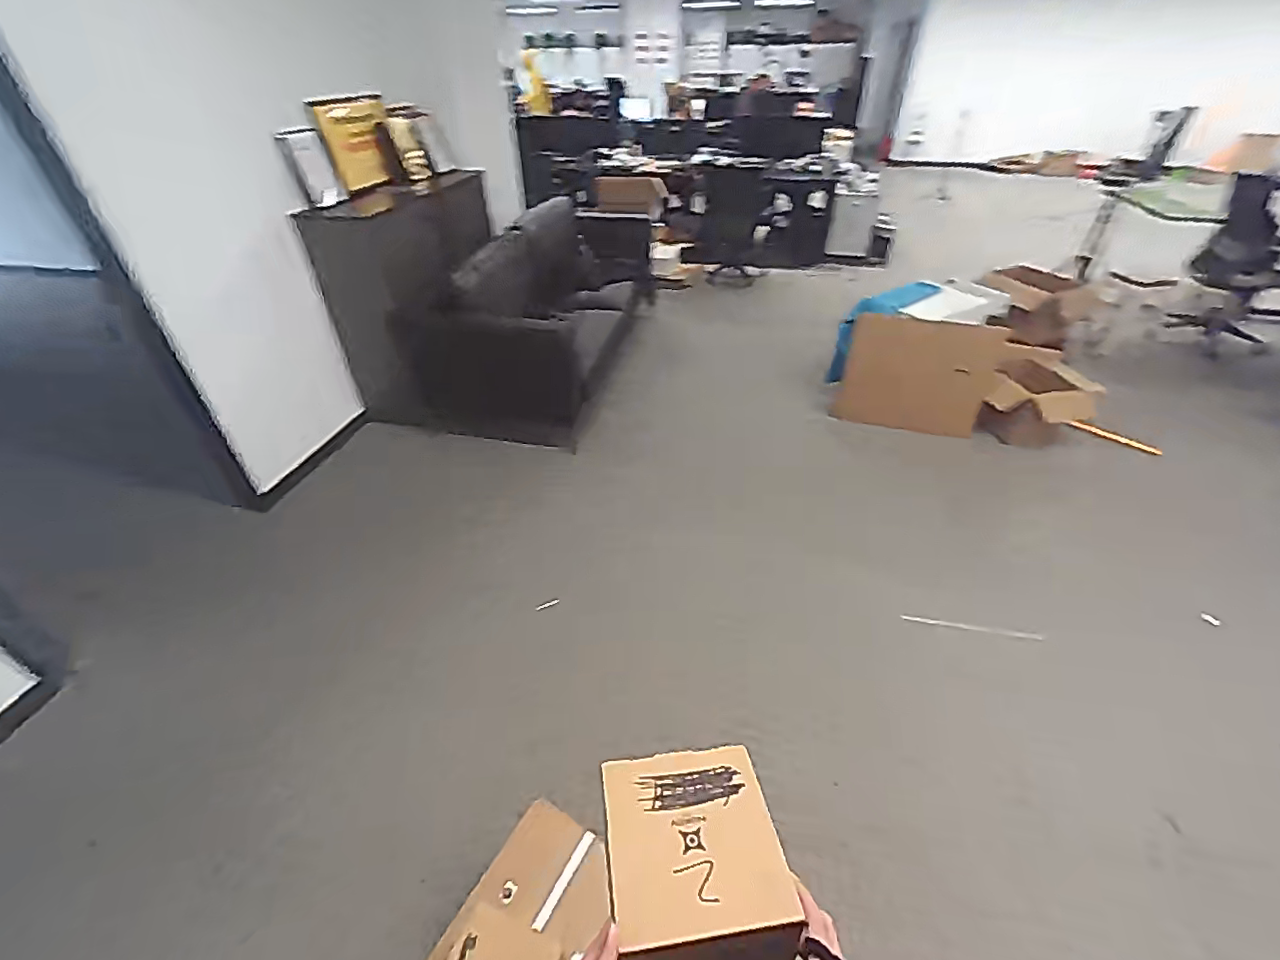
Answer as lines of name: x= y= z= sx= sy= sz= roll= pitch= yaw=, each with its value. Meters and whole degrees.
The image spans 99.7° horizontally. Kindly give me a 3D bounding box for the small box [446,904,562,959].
small box: x=-0.241 y=0.875 z=0.918 sx=0.179 sy=0.176 sz=0.168 roll=15 pitch=40 yaw=17
